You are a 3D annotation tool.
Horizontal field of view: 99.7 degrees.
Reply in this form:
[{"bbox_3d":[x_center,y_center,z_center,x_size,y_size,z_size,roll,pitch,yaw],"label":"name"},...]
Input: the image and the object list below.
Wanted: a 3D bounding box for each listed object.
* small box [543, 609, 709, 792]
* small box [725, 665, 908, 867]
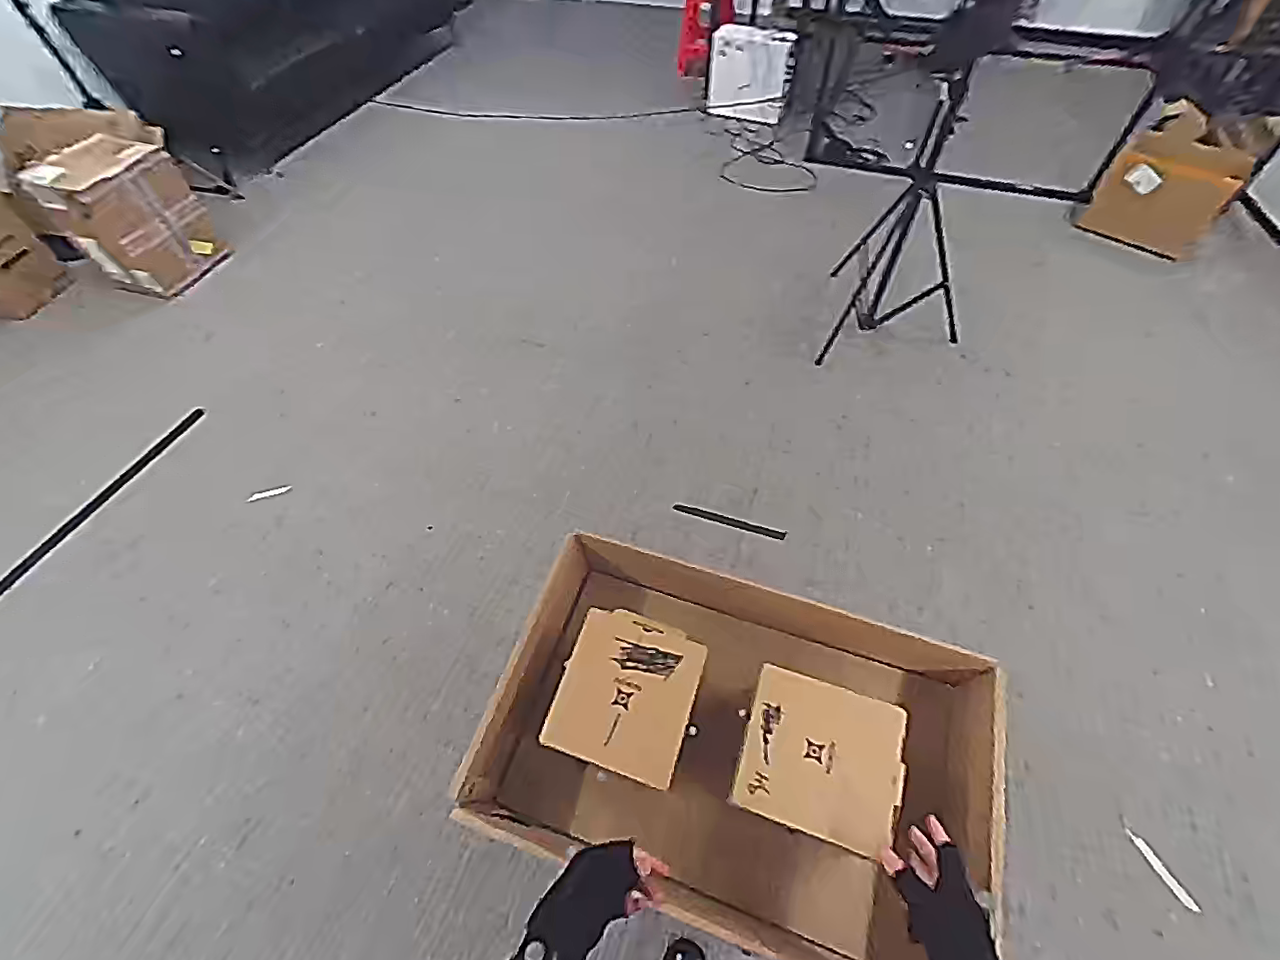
[{"bbox_3d":[-0.012,0.306,0.744,0.168,0.176,0.179,15,63,12],"label":"small box"},{"bbox_3d":[0.218,0.362,0.698,0.179,0.176,0.168,16,61,13],"label":"small box"}]
